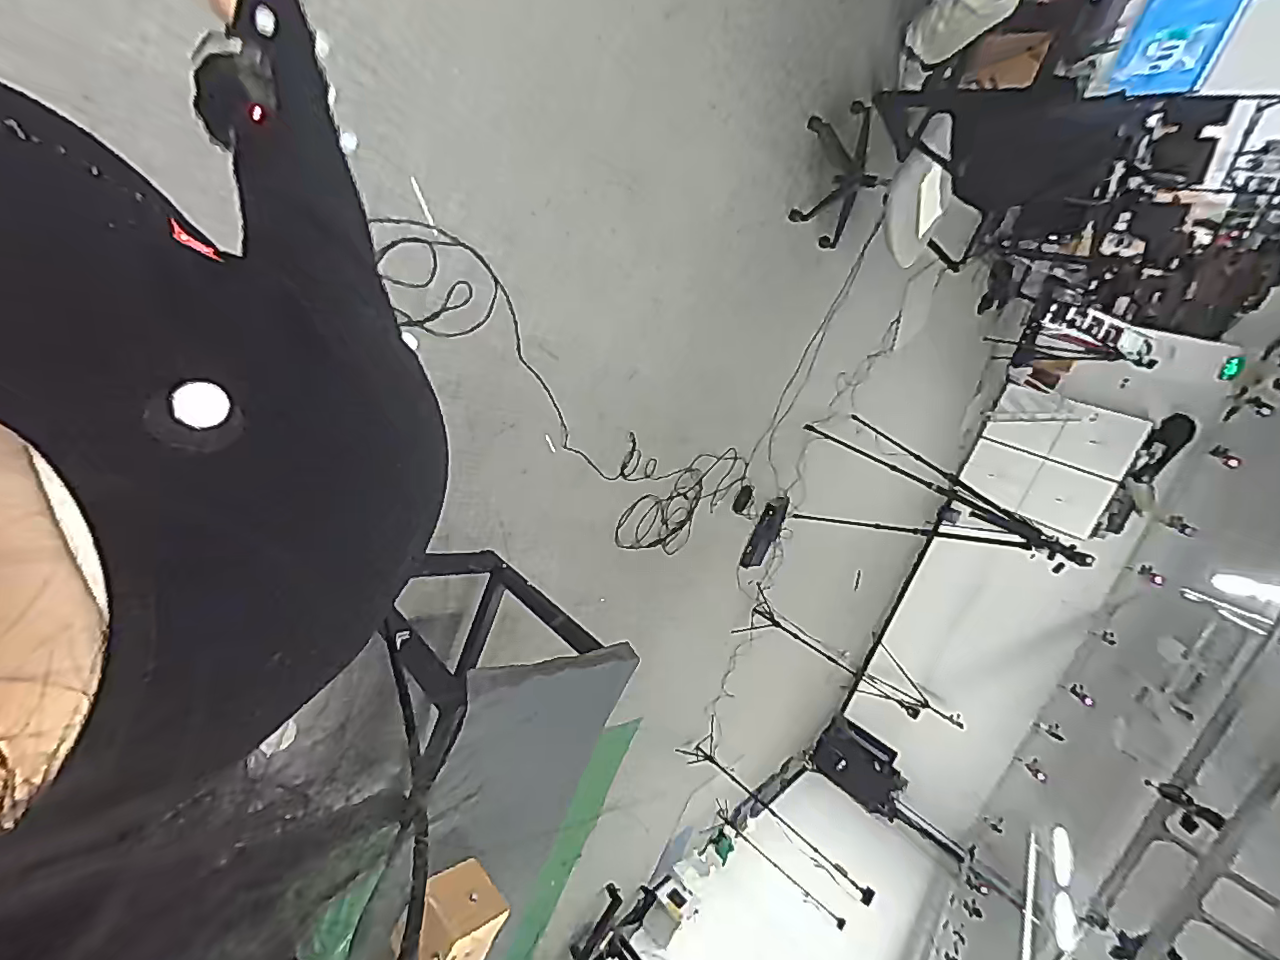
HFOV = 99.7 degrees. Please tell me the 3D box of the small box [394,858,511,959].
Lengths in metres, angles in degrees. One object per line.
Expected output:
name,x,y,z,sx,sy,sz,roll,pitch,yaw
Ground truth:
small box,-0.457,1.074,1.318,0.179,0.176,0.168,23,94,-57
